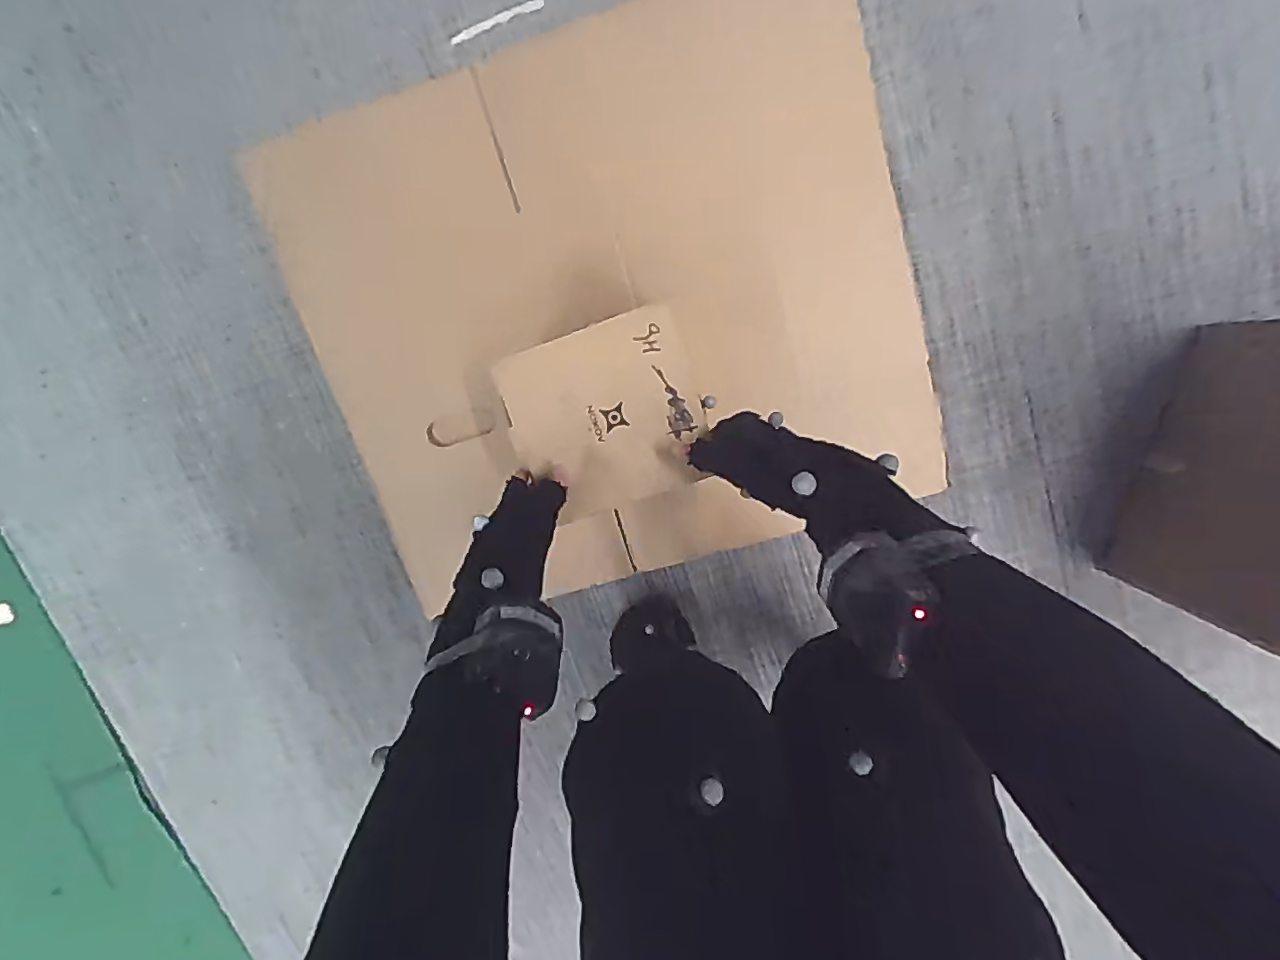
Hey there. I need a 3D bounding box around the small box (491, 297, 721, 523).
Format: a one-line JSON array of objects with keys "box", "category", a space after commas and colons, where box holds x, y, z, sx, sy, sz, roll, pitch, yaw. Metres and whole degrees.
[{"box": [-0.025, -0.076, 0.587, 0.179, 0.176, 0.168, -23, 100, 9], "category": "small box"}]
